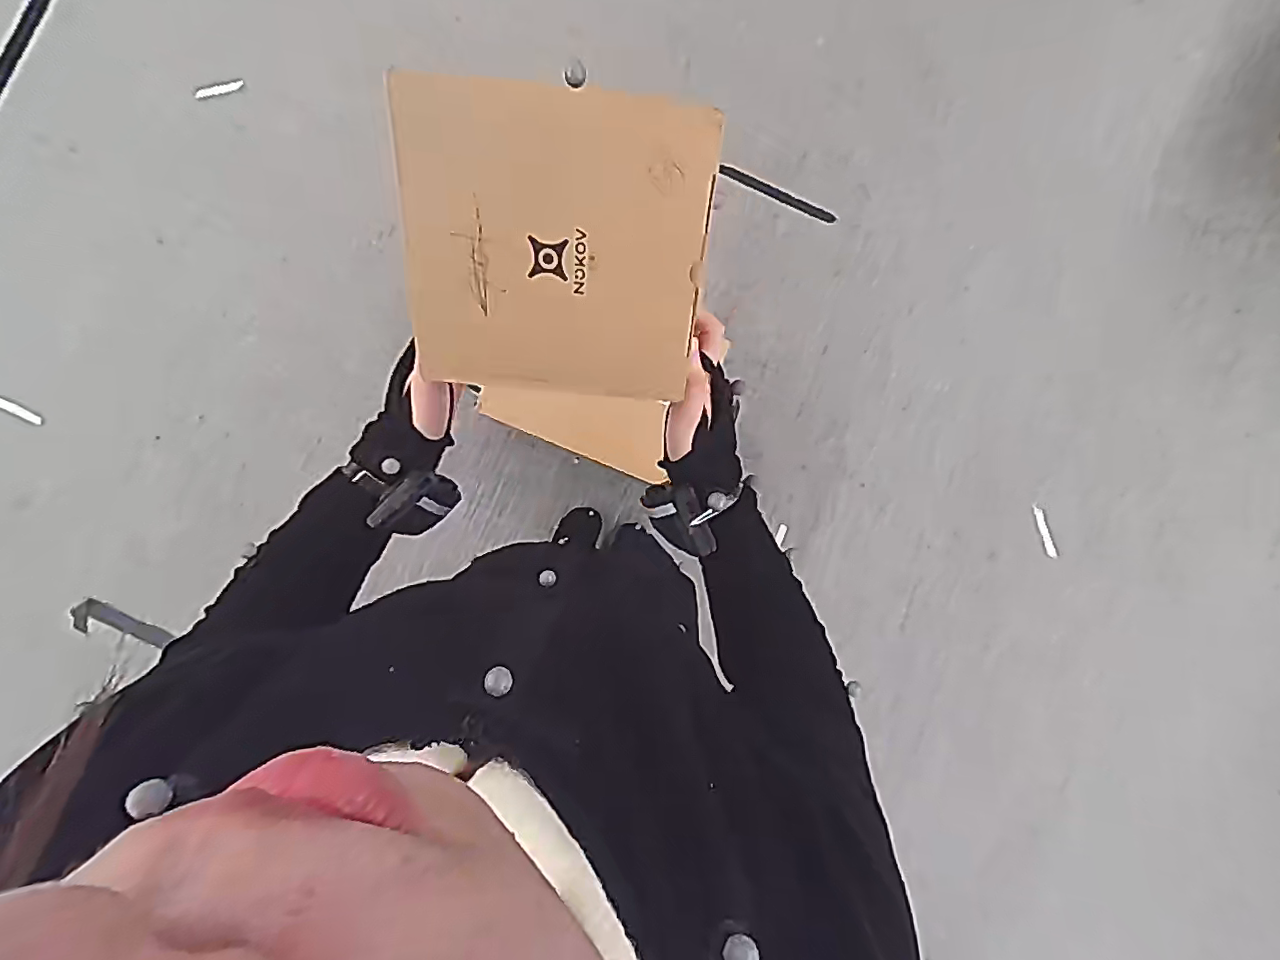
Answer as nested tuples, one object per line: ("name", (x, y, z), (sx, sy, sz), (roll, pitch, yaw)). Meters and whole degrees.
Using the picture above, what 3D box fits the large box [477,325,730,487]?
("large box", (-0.068, -0.195, 1.159), (0.408, 0.320, 0.320), (22, 88, -1))

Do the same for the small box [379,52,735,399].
("small box", (-0.048, -0.170, 0.370), (0.179, 0.176, 0.168), (5, 122, -3))
